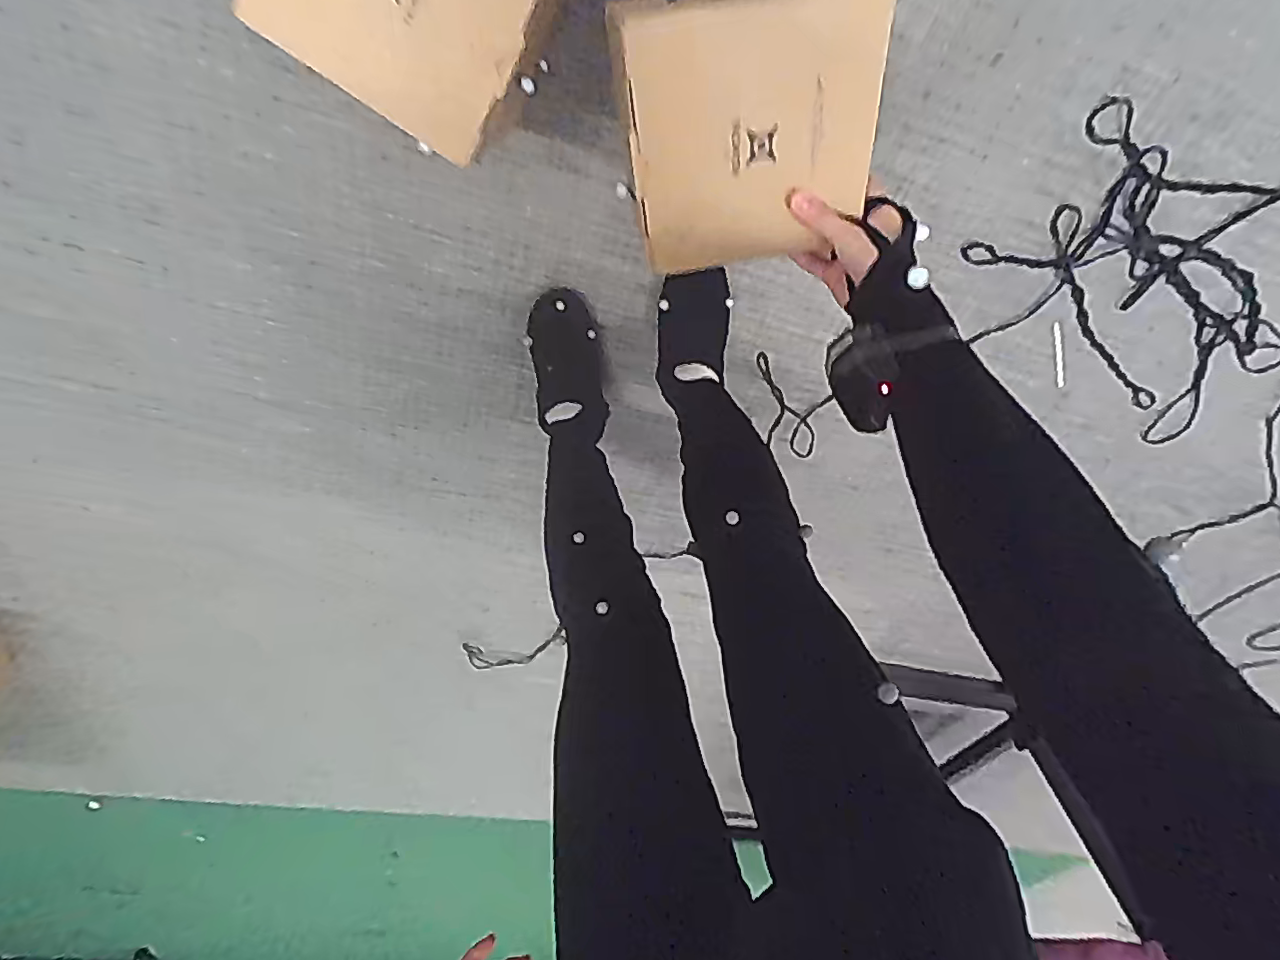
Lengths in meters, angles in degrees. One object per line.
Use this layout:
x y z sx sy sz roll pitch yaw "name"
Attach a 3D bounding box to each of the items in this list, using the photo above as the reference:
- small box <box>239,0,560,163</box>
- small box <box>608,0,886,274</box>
-0.177 -0.400 0.444 0.179 0.176 0.168 26 122 -23 "small box"
0.070 -0.293 0.444 0.179 0.176 0.168 -9 134 1 "small box"
